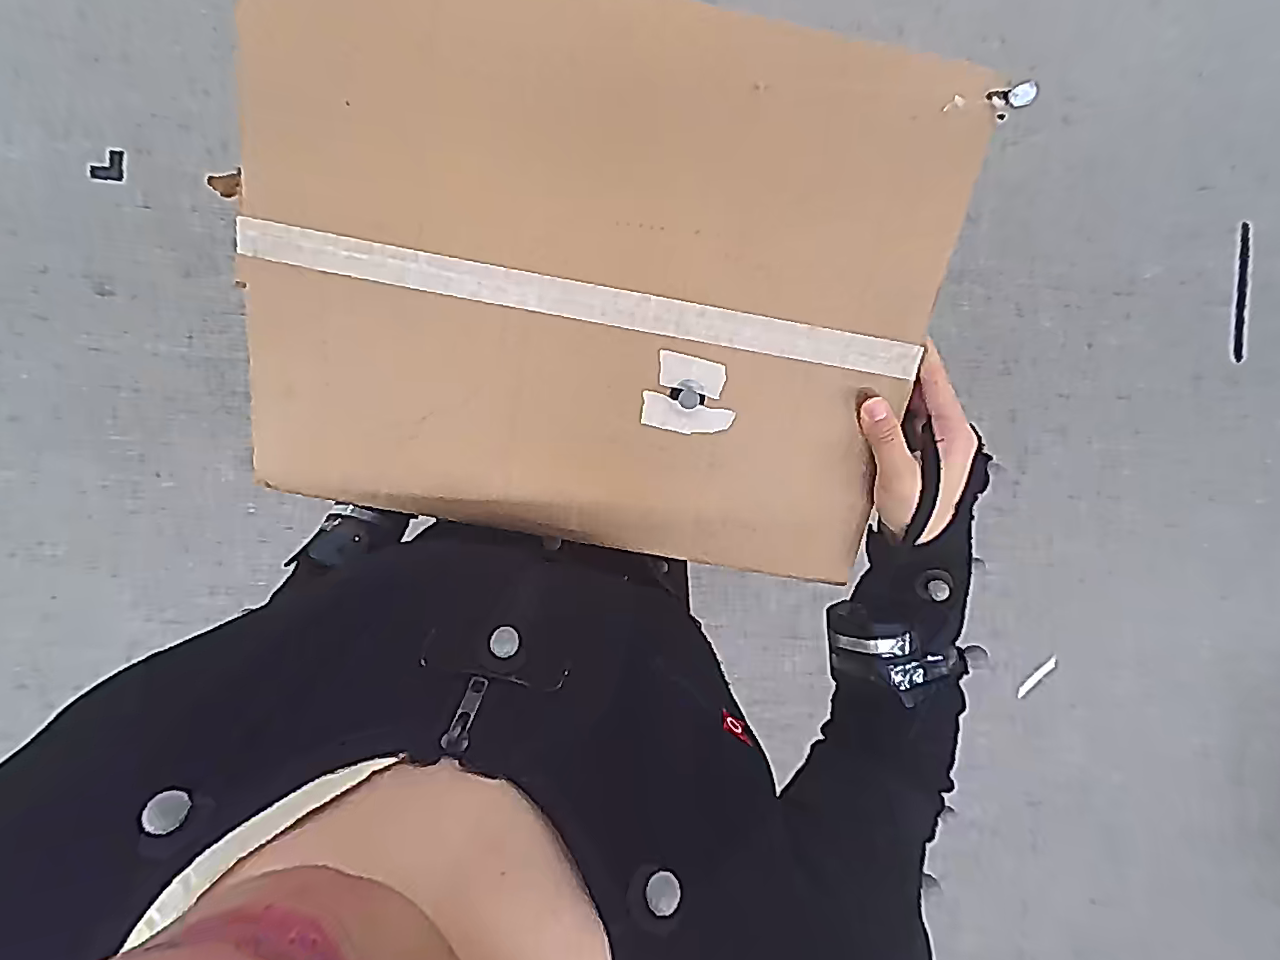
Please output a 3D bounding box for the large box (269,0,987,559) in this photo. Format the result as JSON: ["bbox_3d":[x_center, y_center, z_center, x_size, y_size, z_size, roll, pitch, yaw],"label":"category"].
[{"bbox_3d":[-0.026,-0.156,0.476,0.408,0.320,0.320,9,108,-4],"label":"large box"}]
